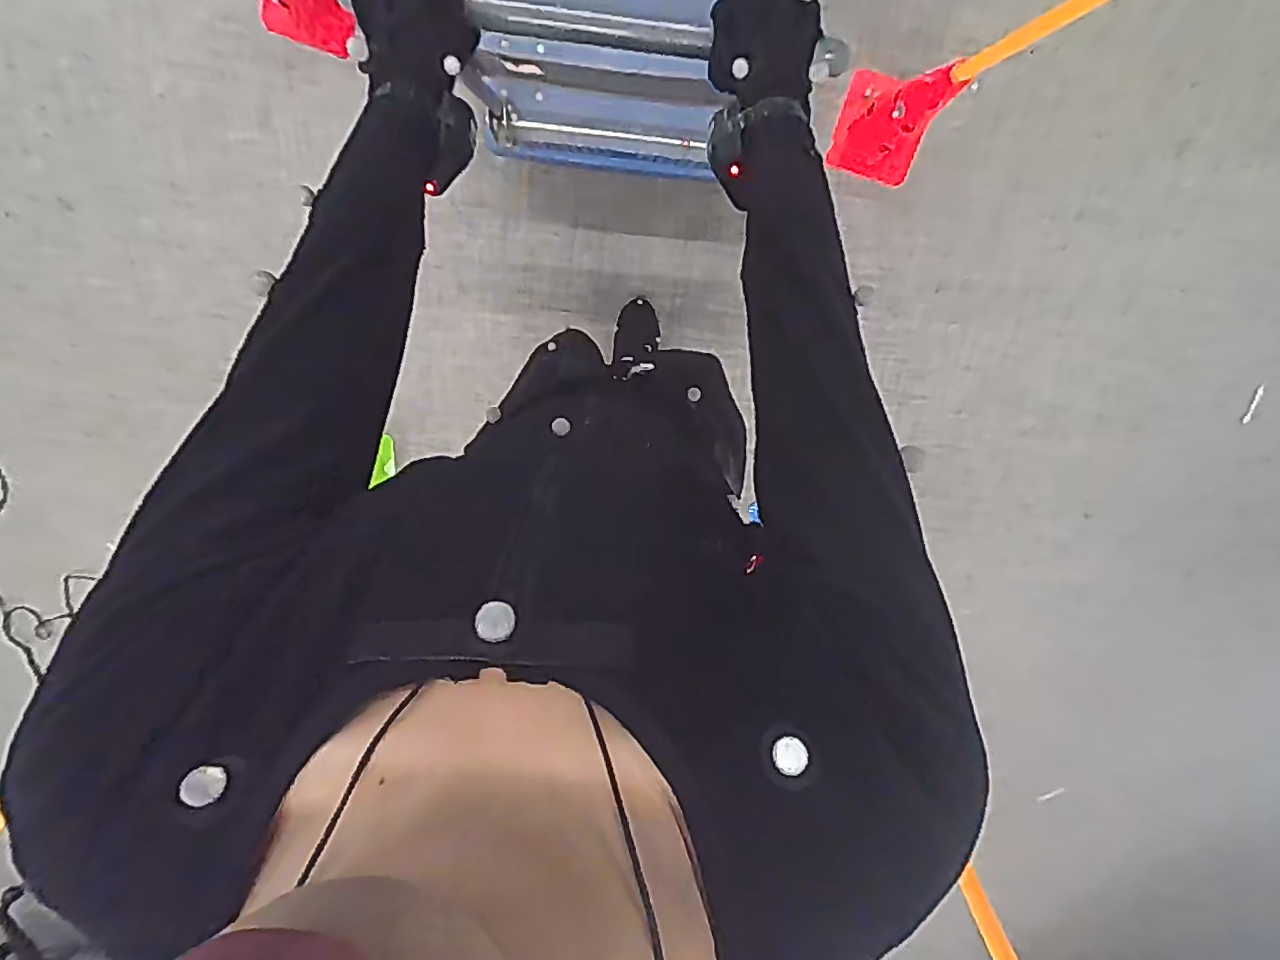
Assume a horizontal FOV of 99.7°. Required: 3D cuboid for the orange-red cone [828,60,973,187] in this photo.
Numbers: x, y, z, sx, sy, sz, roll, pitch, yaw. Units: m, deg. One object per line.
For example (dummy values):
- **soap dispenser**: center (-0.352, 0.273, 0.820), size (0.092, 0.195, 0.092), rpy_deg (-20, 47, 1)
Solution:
- **orange-red cone**: center (0.548, -0.742, 1.075), size (0.198, 0.360, 0.199), rpy_deg (16, 109, -4)
